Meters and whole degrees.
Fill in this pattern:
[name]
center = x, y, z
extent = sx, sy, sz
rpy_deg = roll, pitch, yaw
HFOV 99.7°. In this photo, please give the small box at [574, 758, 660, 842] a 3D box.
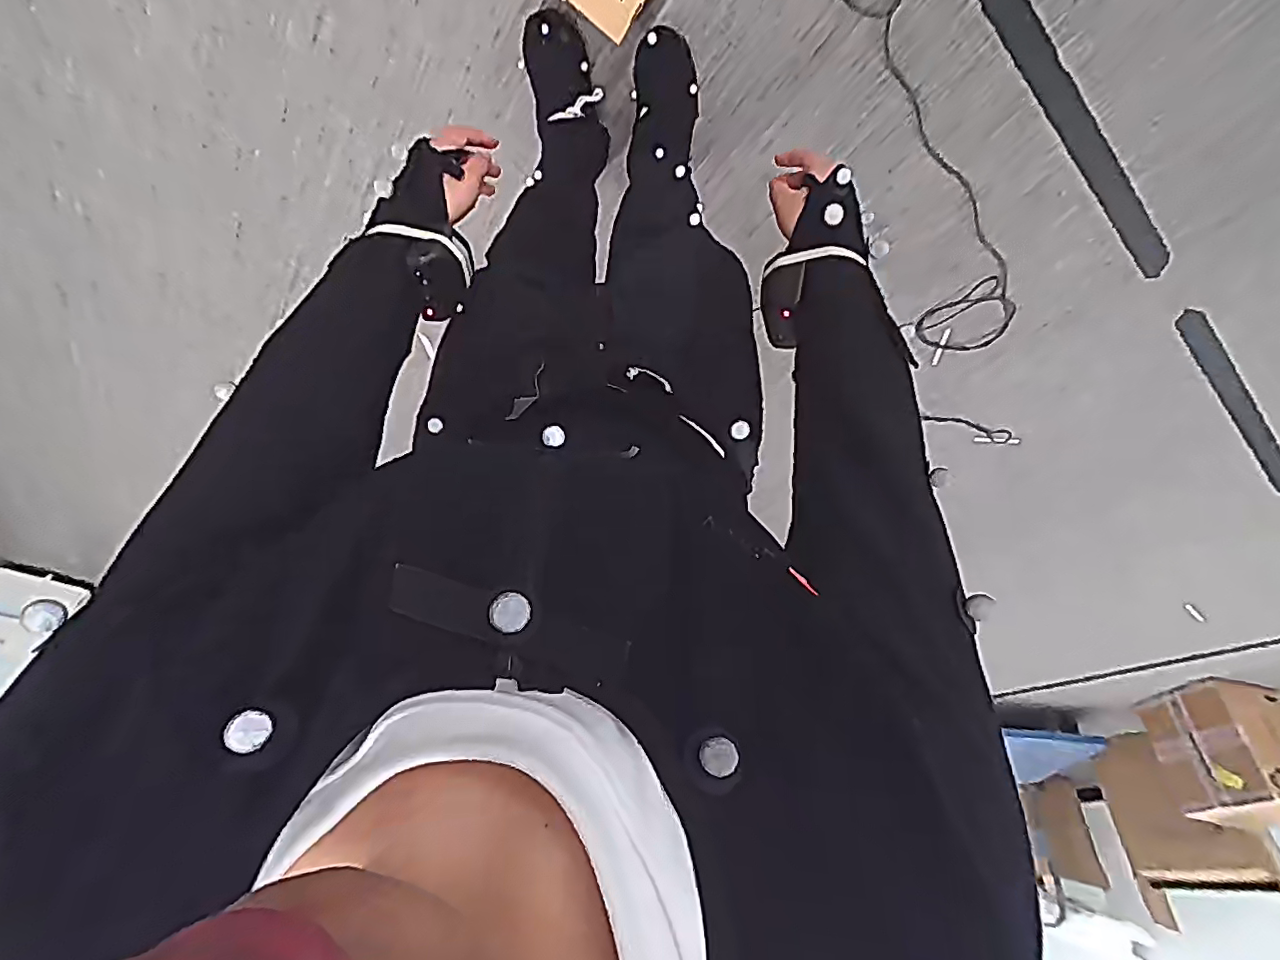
[small box]
center = -0.058, 0.875, 1.478
extent = 0.168, 0.176, 0.179
rpy_deg = 28, 137, -22
